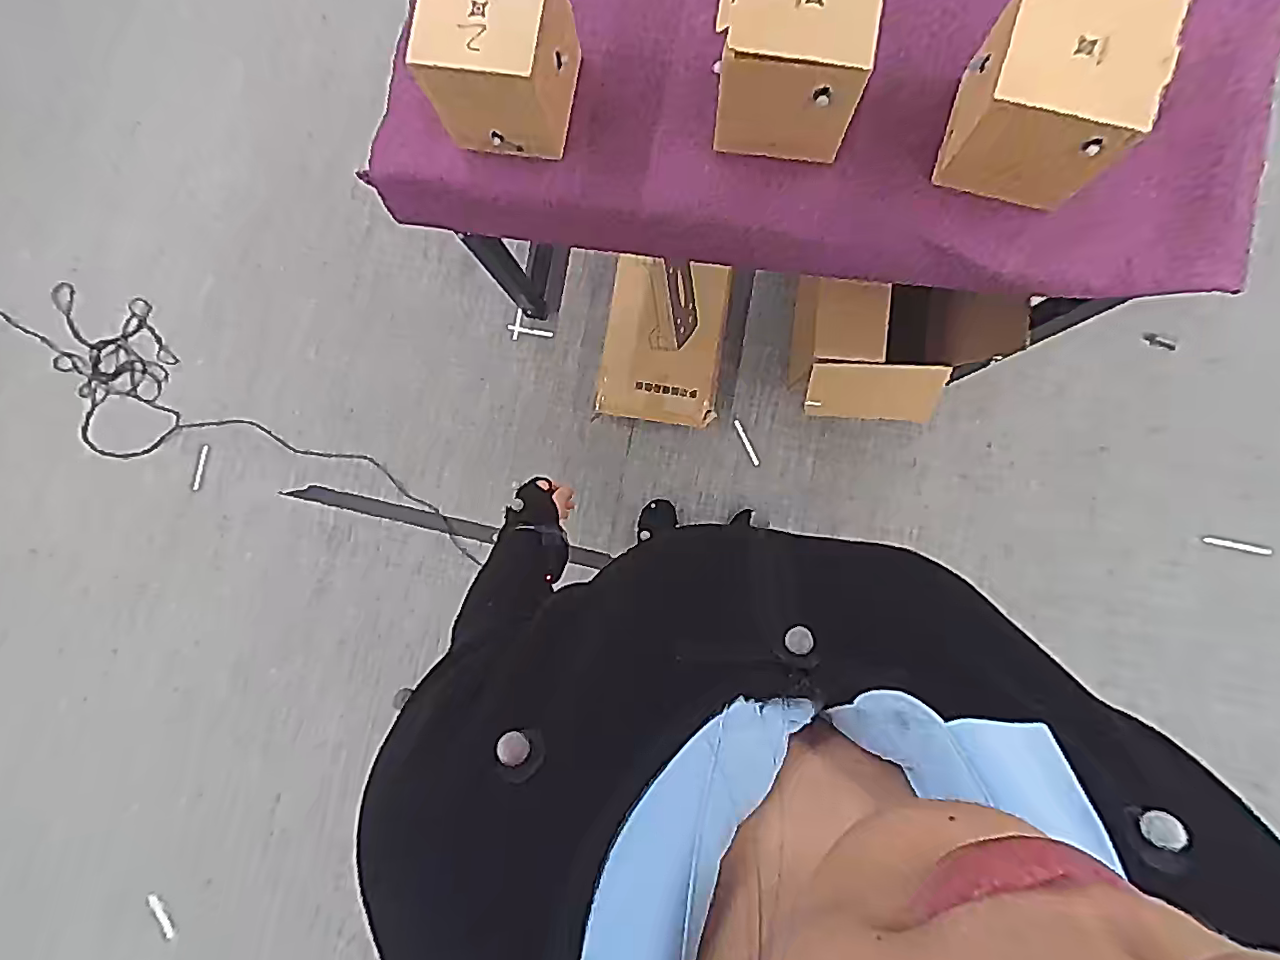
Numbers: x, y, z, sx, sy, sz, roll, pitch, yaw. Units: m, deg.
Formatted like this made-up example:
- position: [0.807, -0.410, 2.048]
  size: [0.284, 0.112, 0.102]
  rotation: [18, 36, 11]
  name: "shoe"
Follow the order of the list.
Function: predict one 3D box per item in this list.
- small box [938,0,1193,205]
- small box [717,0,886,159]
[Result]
- position: [0.512, -0.480, 0.681]
  size: [0.179, 0.176, 0.168]
  rotation: [17, 89, 5]
  name: "small box"
- position: [0.204, -0.556, 0.710]
  size: [0.179, 0.176, 0.168]
  rotation: [9, 86, 5]
  name: "small box"
